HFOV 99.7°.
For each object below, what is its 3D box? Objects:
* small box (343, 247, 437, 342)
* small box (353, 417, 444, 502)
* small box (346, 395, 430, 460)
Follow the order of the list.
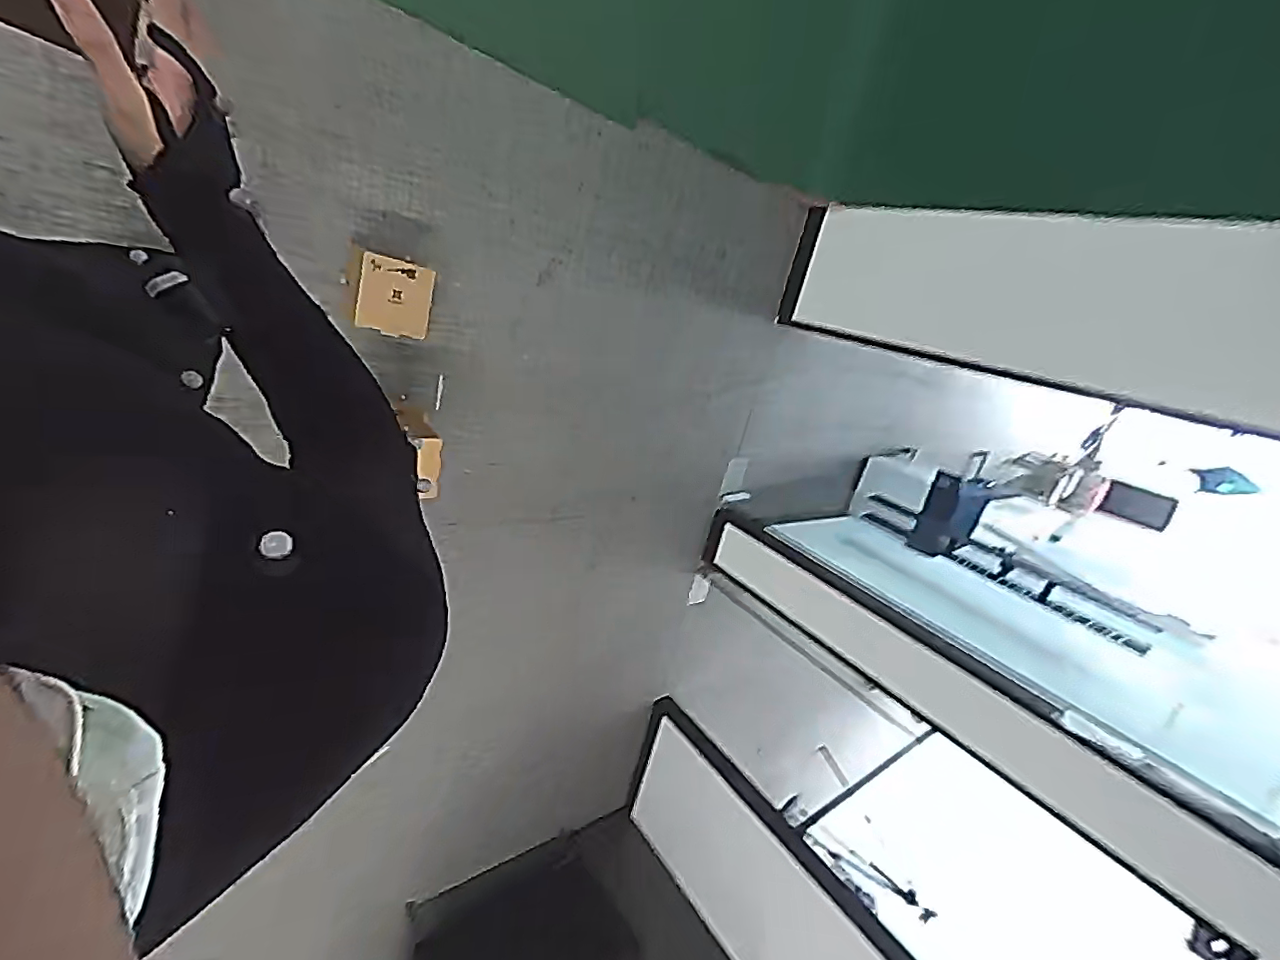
[{"bbox_3d":[-0.634,-0.467,1.361,0.168,0.176,0.179,3,112,-41],"label":"small box"},{"bbox_3d":[-0.618,-0.055,1.373,0.179,0.176,0.168,-4,116,-39],"label":"small box"},{"bbox_3d":[-0.701,-0.125,1.495,0.168,0.176,0.179,1,113,-40],"label":"small box"}]
